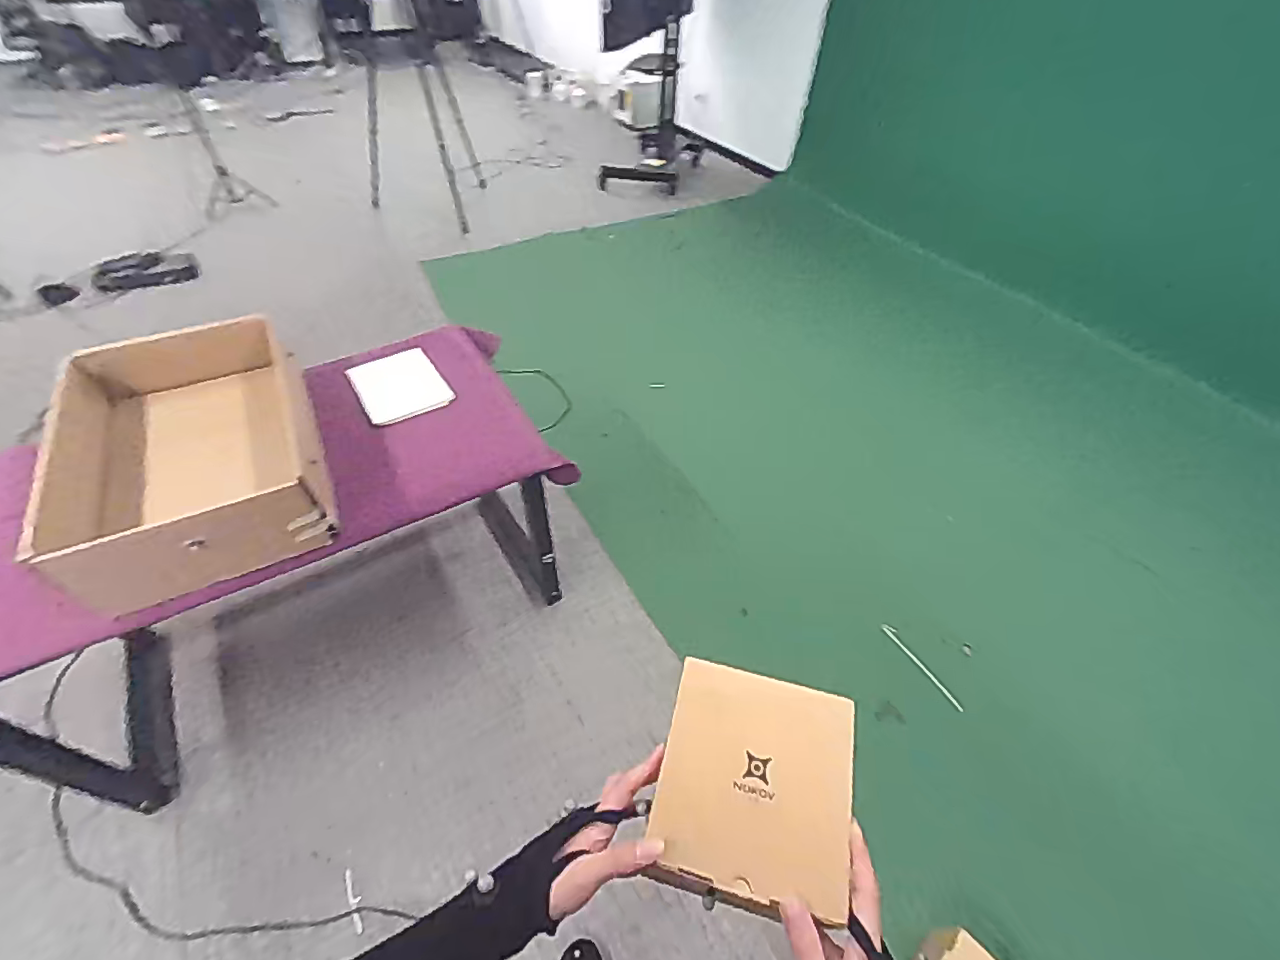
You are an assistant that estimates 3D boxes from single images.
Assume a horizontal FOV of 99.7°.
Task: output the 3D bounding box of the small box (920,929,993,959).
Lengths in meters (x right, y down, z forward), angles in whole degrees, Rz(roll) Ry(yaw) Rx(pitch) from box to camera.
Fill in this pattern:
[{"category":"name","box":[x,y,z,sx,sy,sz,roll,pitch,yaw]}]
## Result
[{"category":"small box","box":[0.679,1.094,1.125,0.168,0.176,0.179,-33,56,-28]}]
